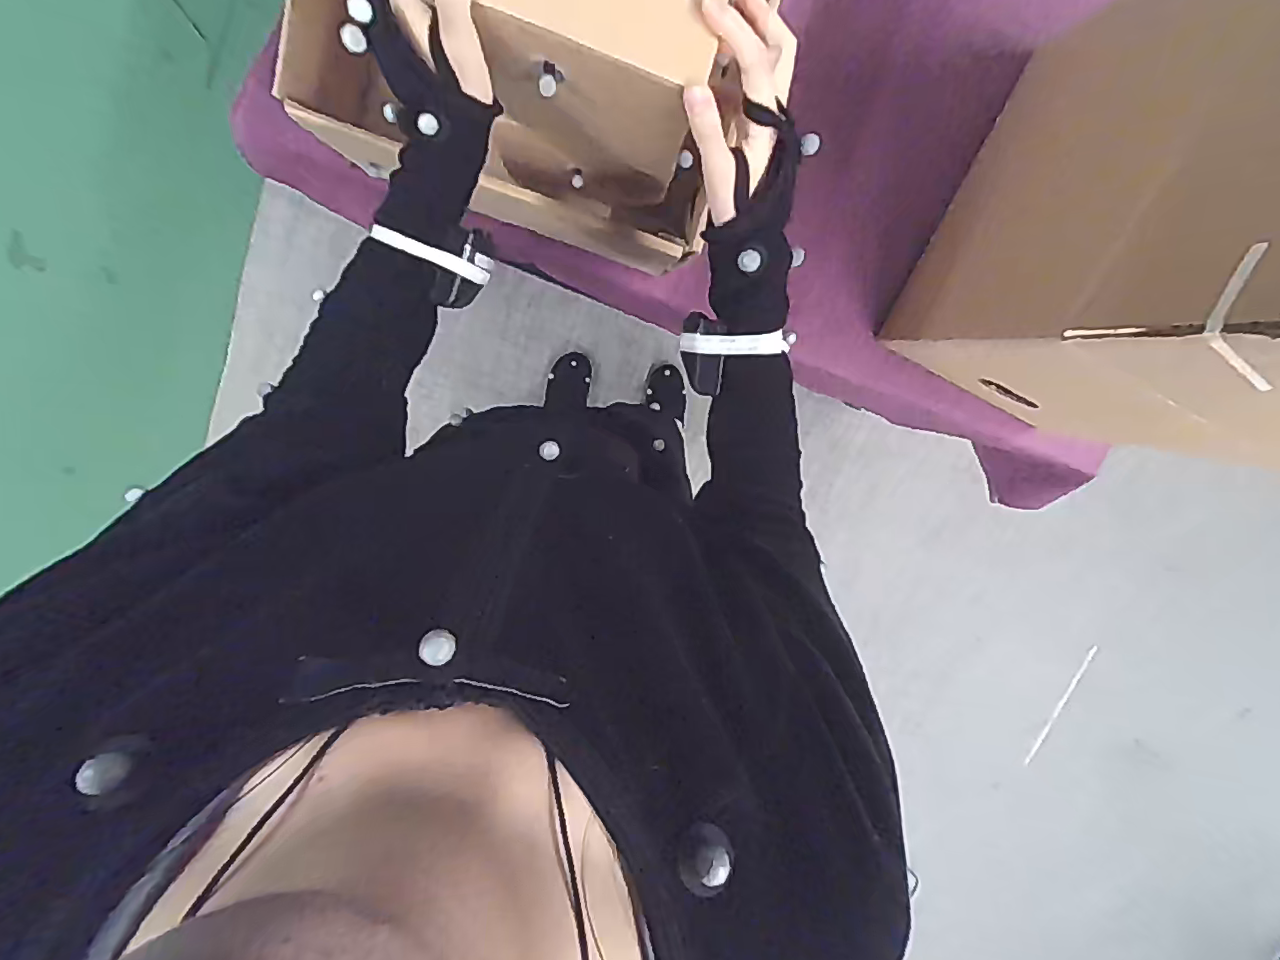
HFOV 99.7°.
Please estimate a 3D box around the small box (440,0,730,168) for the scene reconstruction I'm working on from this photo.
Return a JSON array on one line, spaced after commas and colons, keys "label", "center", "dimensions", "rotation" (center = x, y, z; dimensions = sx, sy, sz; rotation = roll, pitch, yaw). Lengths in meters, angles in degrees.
[{"label": "small box", "center": [-0.026, -0.349, 0.375], "dimensions": [0.179, 0.176, 0.168], "rotation": [17, 103, -9]}]
